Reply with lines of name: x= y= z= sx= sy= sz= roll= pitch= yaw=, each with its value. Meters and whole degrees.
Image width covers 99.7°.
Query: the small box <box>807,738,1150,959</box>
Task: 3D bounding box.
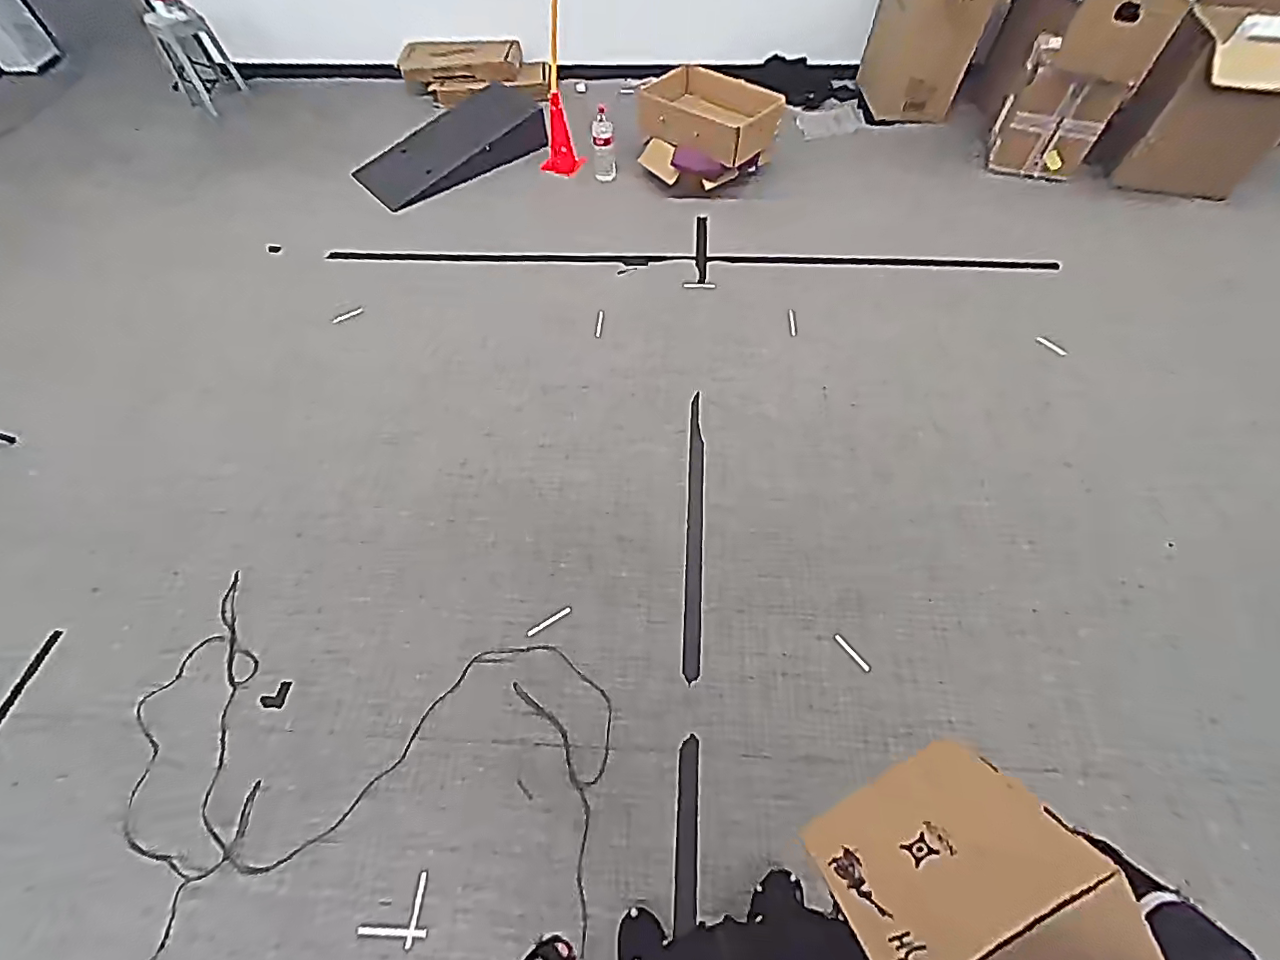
small box: x=0.281 y=0.370 z=0.455 sx=0.179 sy=0.168 sz=0.176 roll=-30 pitch=97 yaw=-3
